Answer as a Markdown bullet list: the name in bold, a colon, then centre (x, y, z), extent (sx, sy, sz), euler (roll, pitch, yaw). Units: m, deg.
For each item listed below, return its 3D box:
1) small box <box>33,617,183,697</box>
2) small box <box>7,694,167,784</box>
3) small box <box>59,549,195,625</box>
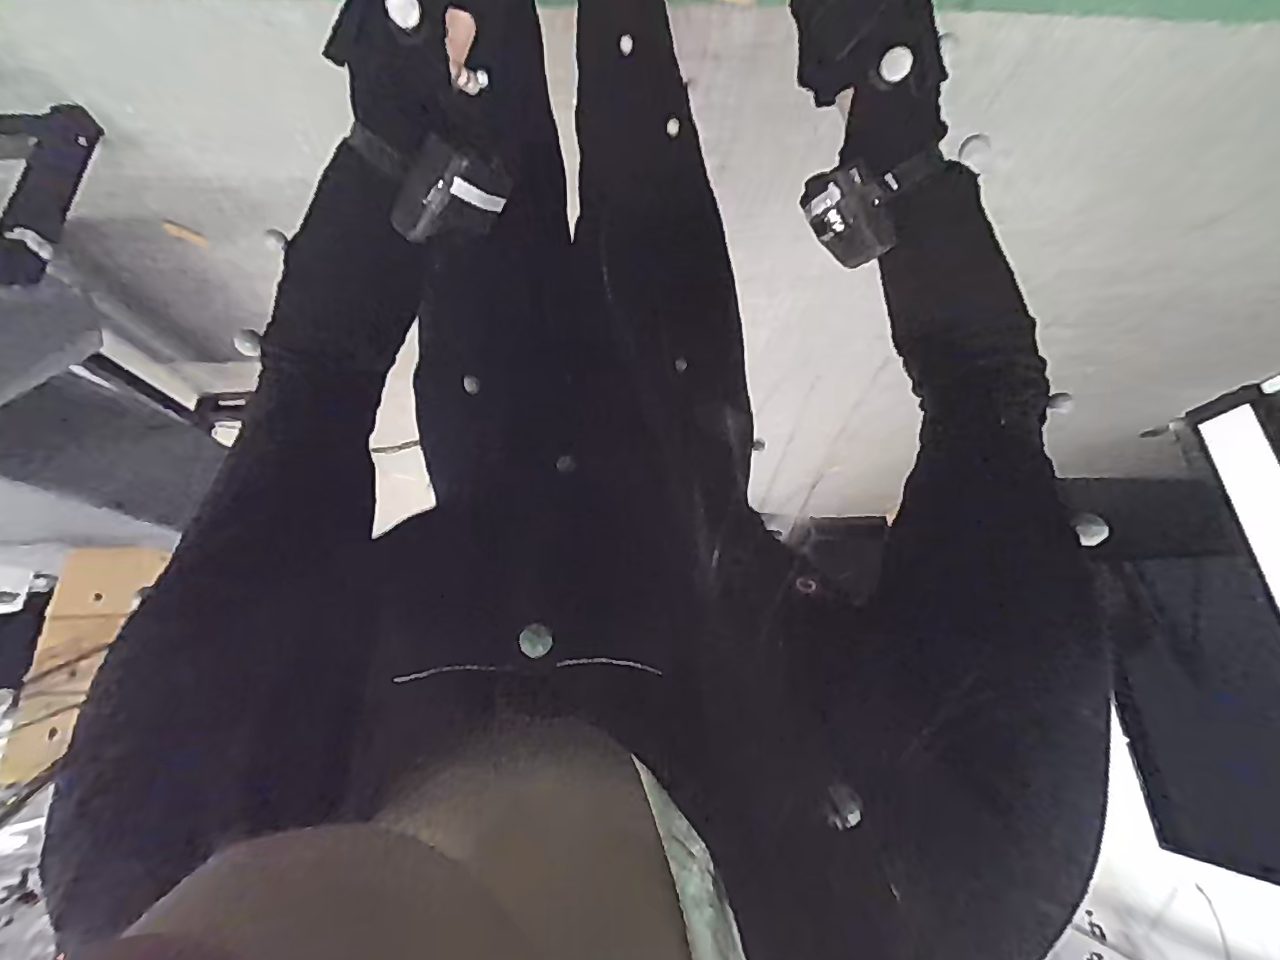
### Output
- **small box**: centre (-1.246, 0.421, 1.284), extent (0.179, 0.176, 0.168), euler (-2, 159, -3)
- **small box**: centre (-1.235, 0.575, 1.224), extent (0.168, 0.176, 0.179), euler (-1, 159, -4)
- **small box**: centre (-1.254, 0.270, 1.341), extent (0.179, 0.176, 0.168), euler (-1, 159, -2)
